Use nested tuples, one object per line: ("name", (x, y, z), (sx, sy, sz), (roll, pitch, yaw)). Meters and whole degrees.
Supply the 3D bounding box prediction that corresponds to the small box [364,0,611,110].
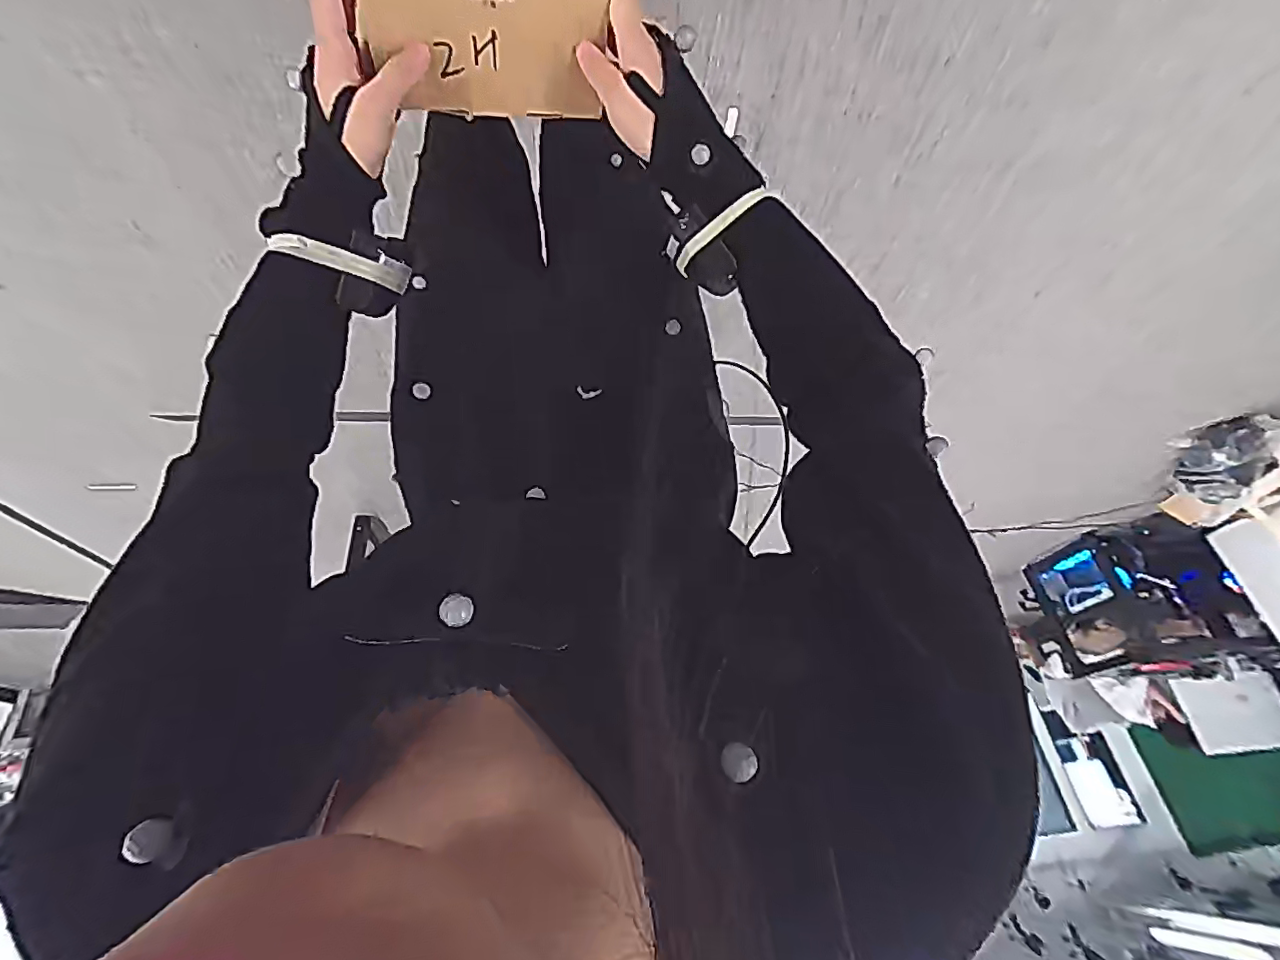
("small box", (-0.111, -0.404, 0.383), (0.168, 0.176, 0.179), (-4, 151, -11))
